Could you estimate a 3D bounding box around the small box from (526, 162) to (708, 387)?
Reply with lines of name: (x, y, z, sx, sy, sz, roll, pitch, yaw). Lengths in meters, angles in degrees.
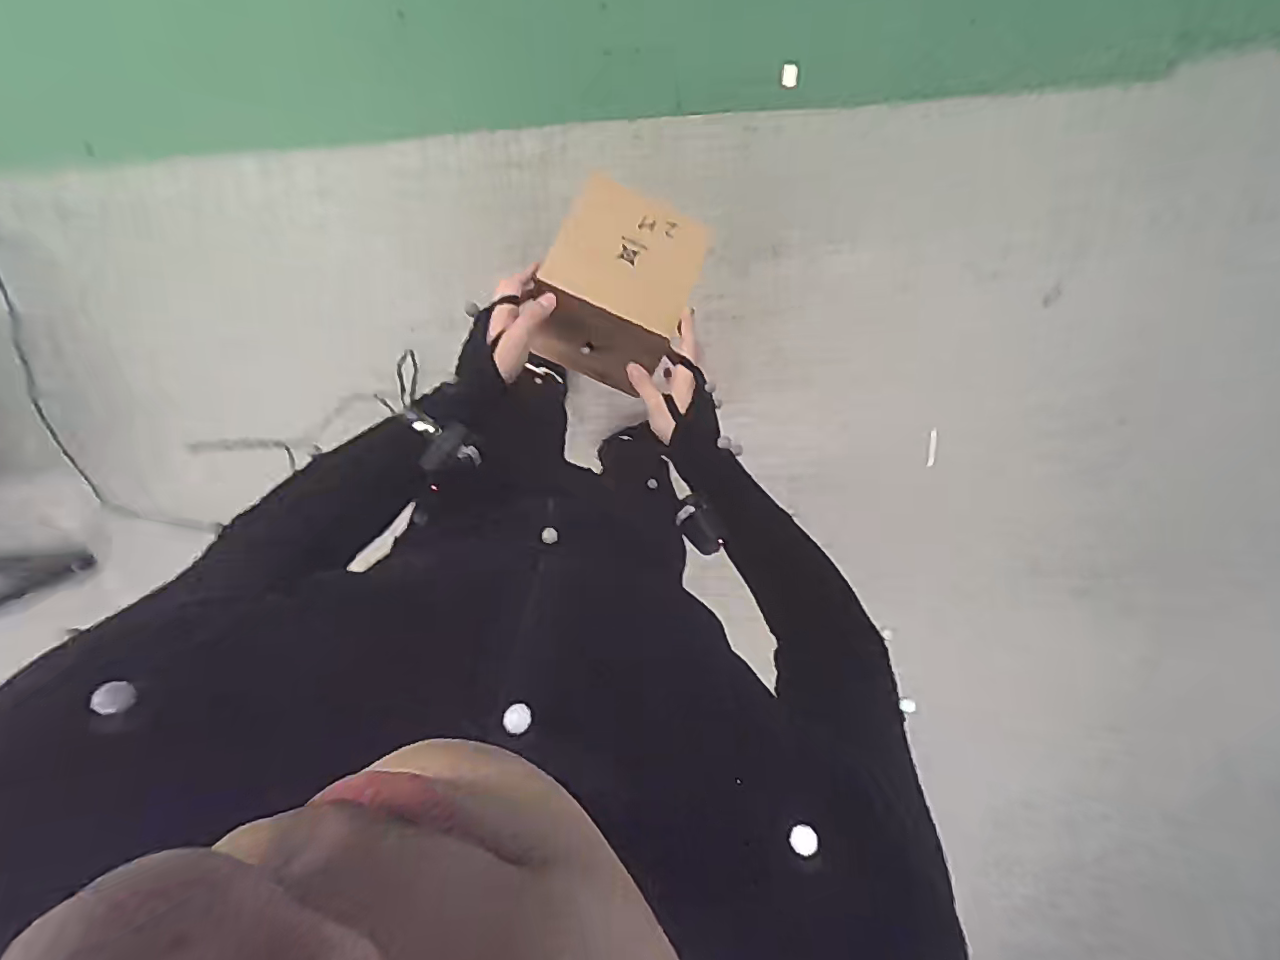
small box: (-0.036, -0.247, 0.691, 0.168, 0.176, 0.179, 23, 71, -6)
